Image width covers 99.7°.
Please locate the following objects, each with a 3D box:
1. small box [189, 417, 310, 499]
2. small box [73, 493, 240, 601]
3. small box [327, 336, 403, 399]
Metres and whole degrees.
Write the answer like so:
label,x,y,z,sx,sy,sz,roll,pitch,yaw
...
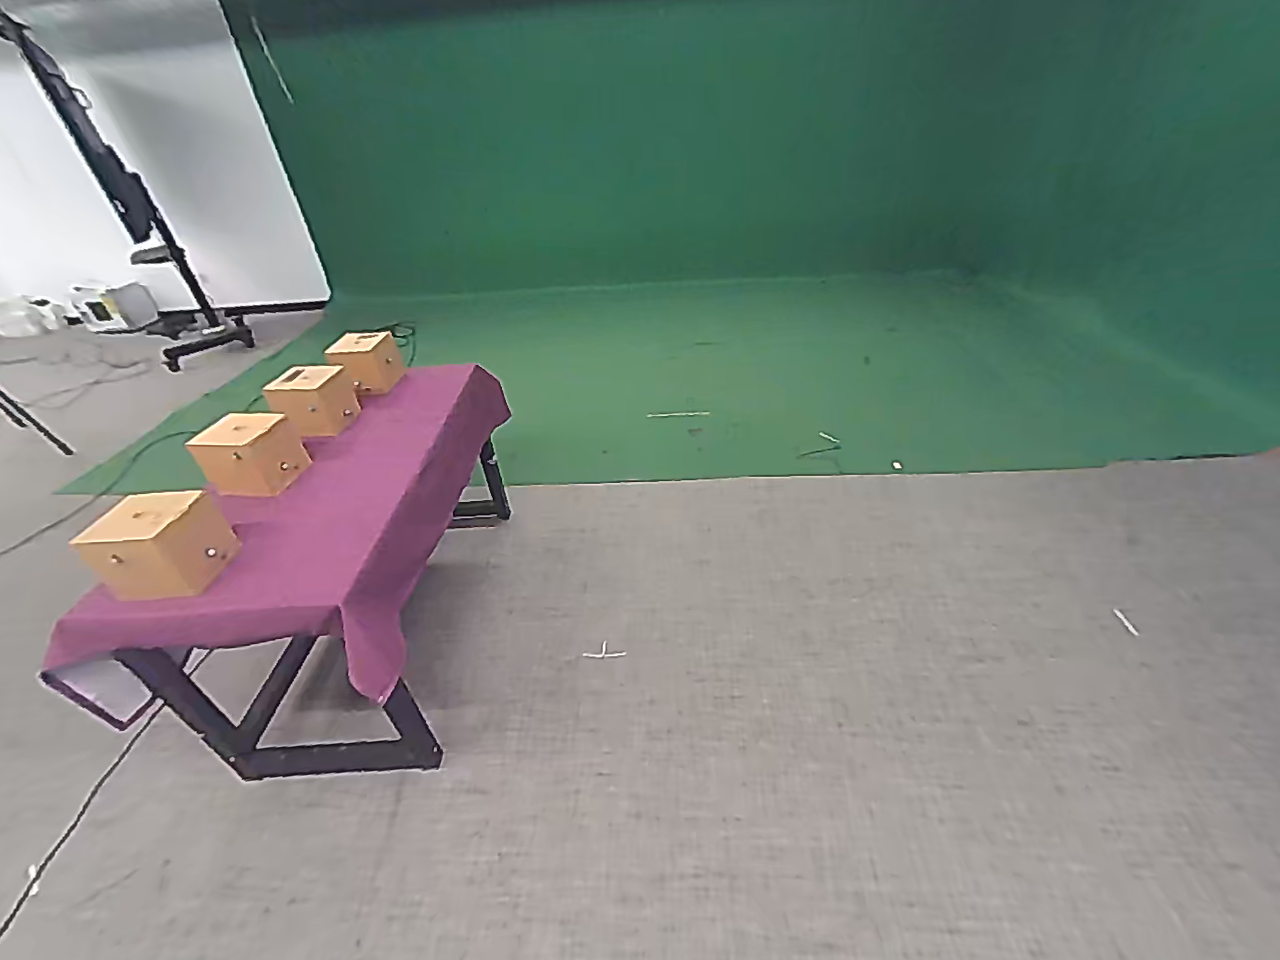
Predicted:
label,x,y,z,sx,sy,sz,roll,pitch,yaw
small box,-1.057,-0.061,1.480,0.179,0.176,0.168,2,36,7
small box,-1.036,0.148,1.178,0.179,0.176,0.168,-3,35,2
small box,-0.982,-0.407,1.953,0.168,0.176,0.179,-2,37,4
